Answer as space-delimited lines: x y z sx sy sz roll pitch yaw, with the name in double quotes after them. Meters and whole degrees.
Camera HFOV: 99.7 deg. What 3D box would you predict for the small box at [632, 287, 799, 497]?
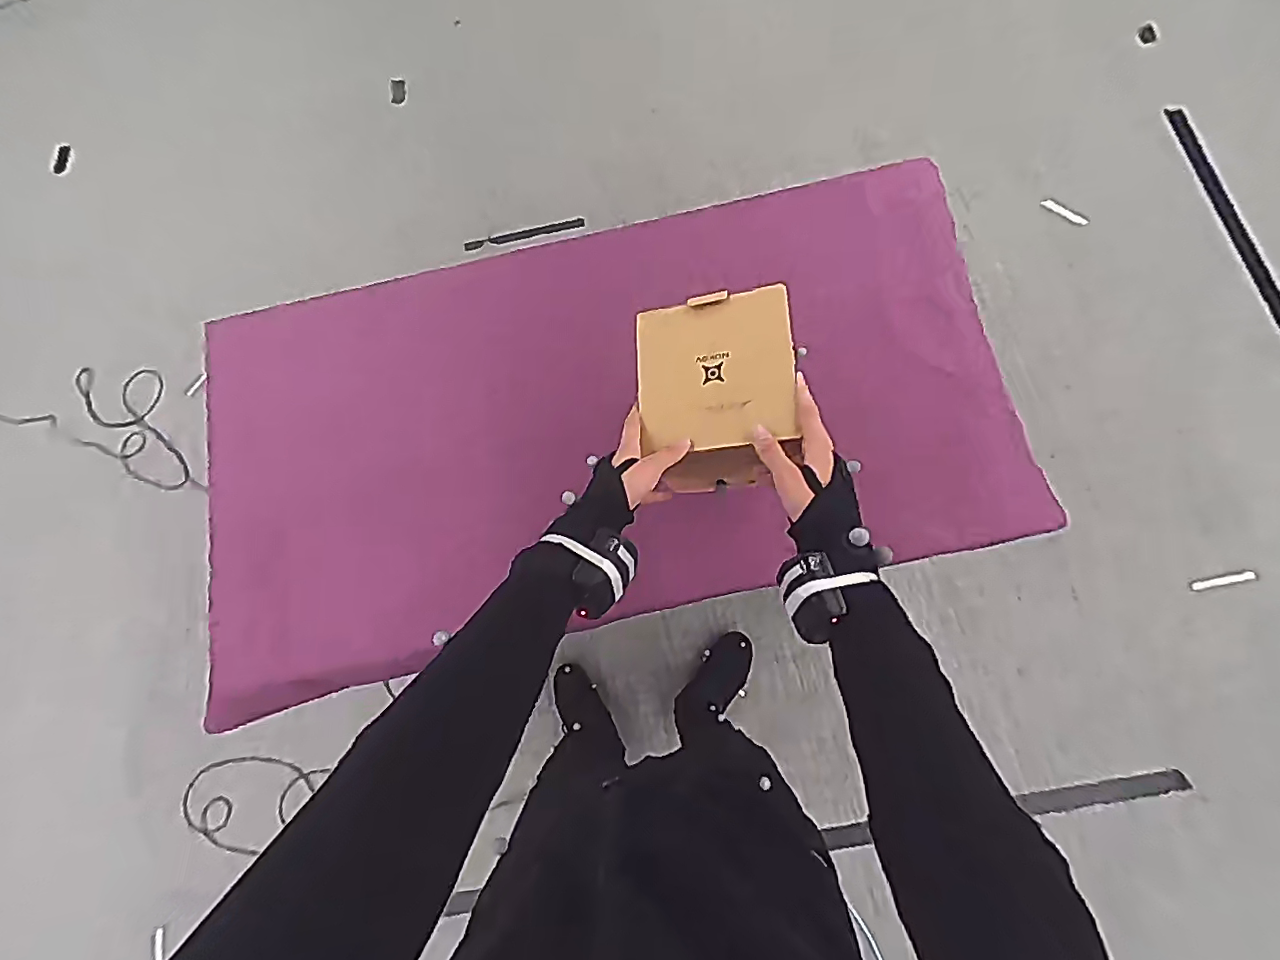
0.094 -0.090 0.632 0.168 0.176 0.179 -6 73 17 "small box"
